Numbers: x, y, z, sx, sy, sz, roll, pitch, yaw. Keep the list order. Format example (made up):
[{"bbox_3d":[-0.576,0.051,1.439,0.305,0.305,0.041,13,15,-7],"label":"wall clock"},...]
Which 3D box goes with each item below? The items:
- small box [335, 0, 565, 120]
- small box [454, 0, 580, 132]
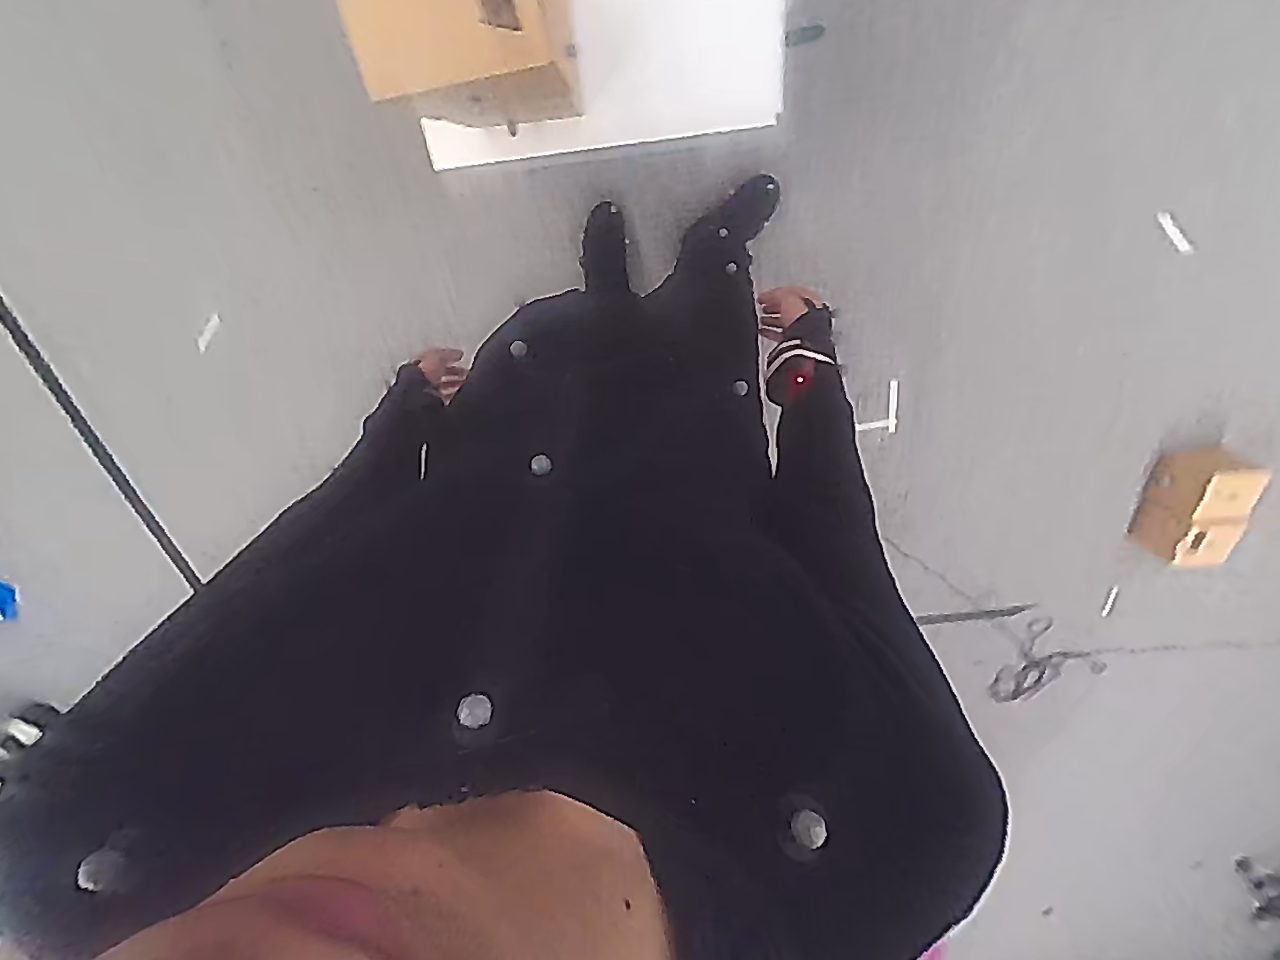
[{"bbox_3d":[-0.175,-0.464,0.521,0.179,0.176,0.168,-8,118,5],"label":"small box"},{"bbox_3d":[-0.171,-0.546,0.663,0.168,0.176,0.179,-5,119,2],"label":"small box"}]
